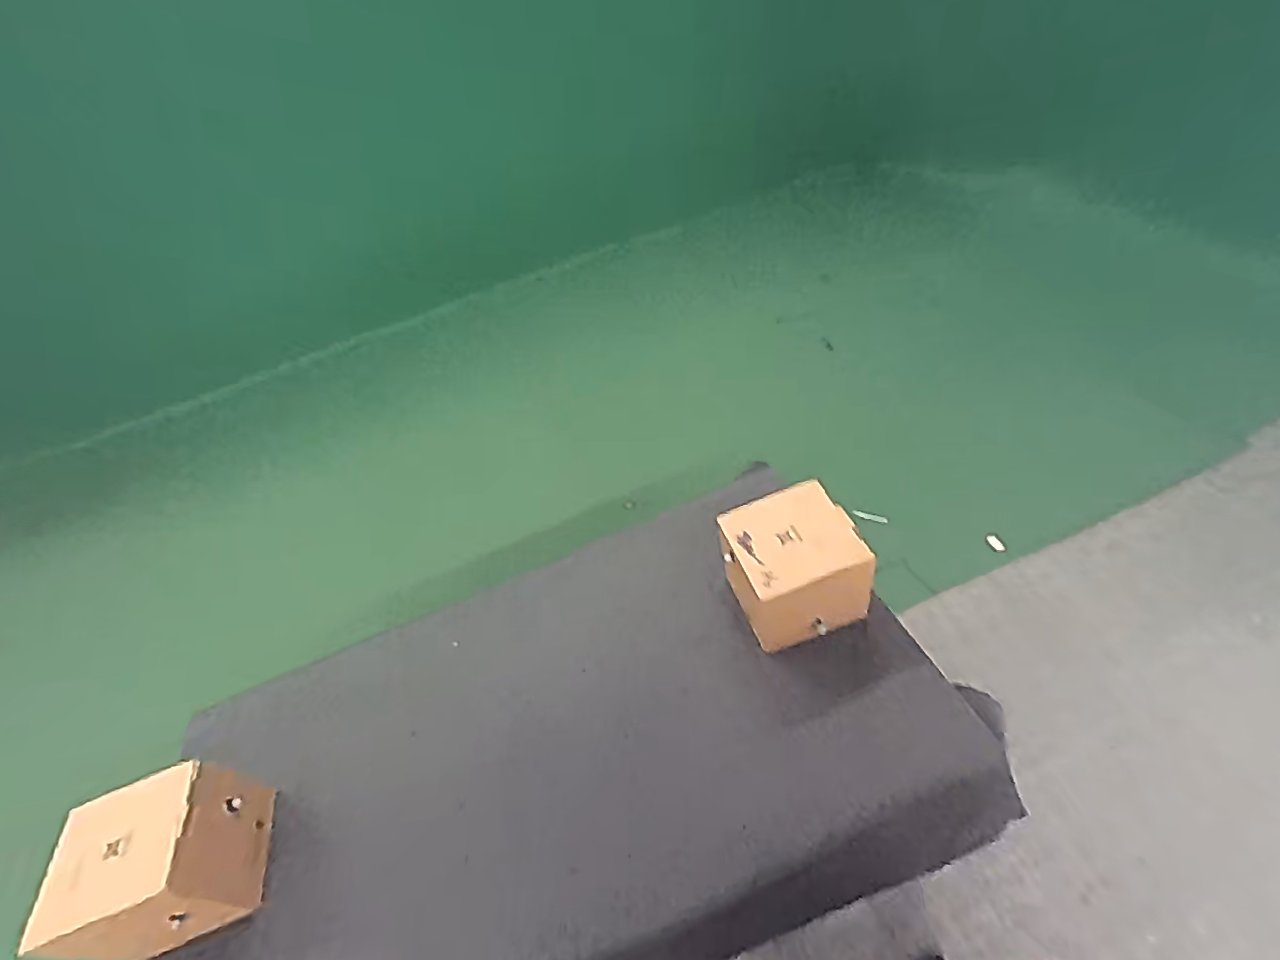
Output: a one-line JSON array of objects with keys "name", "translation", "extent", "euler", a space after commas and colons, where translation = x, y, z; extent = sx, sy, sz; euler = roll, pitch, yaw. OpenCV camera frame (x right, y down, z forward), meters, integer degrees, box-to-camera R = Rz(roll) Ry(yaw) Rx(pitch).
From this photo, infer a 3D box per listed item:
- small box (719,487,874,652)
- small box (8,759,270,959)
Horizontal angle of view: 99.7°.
[{"name": "small box", "translation": [0.241, 0.146, 0.865], "extent": [0.179, 0.176, 0.168], "euler": [-20, 46, -3]}, {"name": "small box", "translation": [-0.656, 0.521, 0.742], "extent": [0.179, 0.176, 0.168], "euler": [-20, 43, -4]}]
